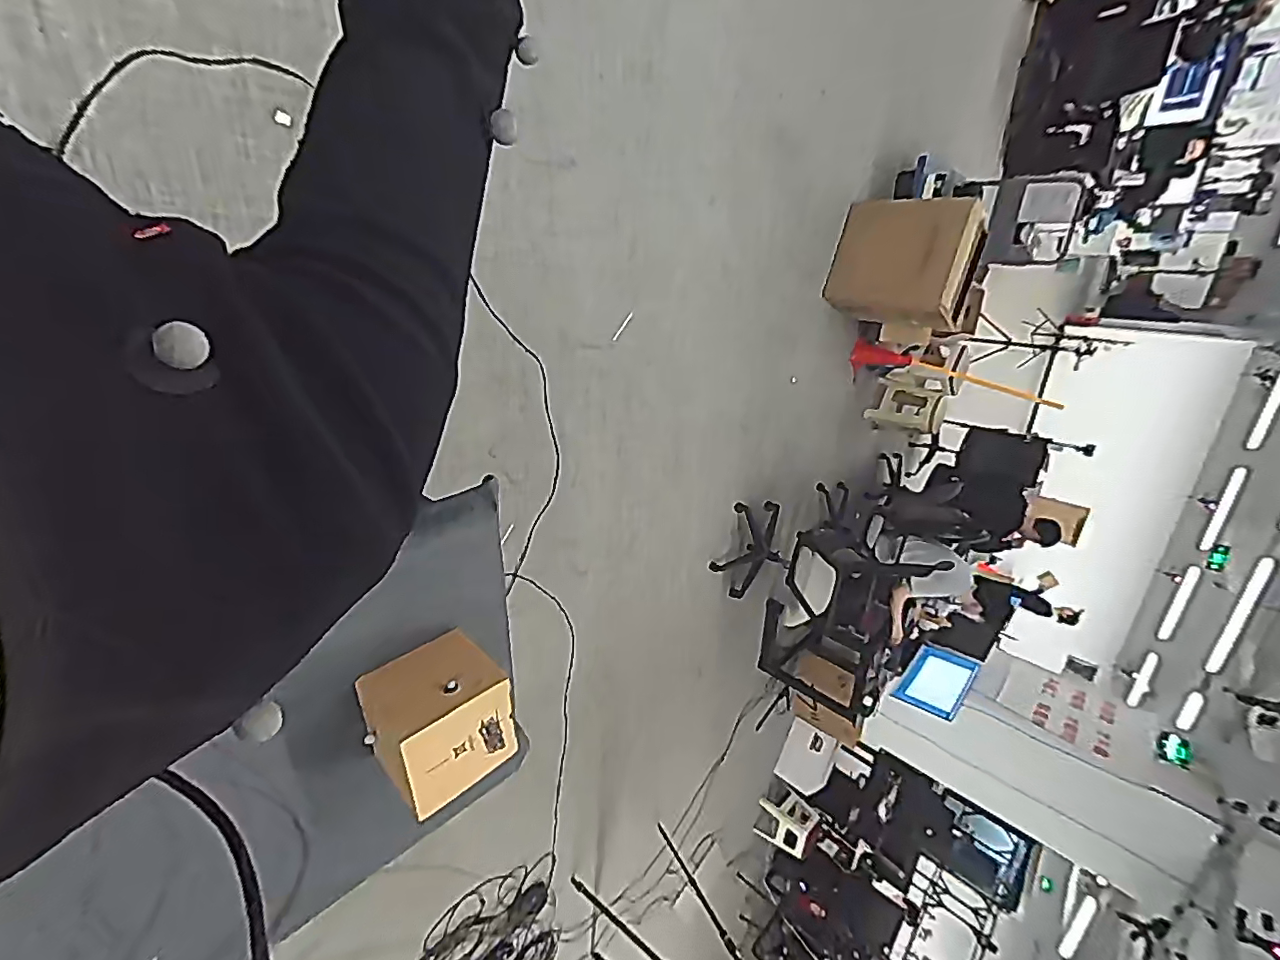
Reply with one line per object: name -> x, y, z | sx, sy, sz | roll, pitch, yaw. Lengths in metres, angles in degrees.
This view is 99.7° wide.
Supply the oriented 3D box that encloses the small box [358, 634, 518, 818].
small box -> -0.323, 0.382, 0.877 | 0.179, 0.176, 0.168 | -23, 122, -40
